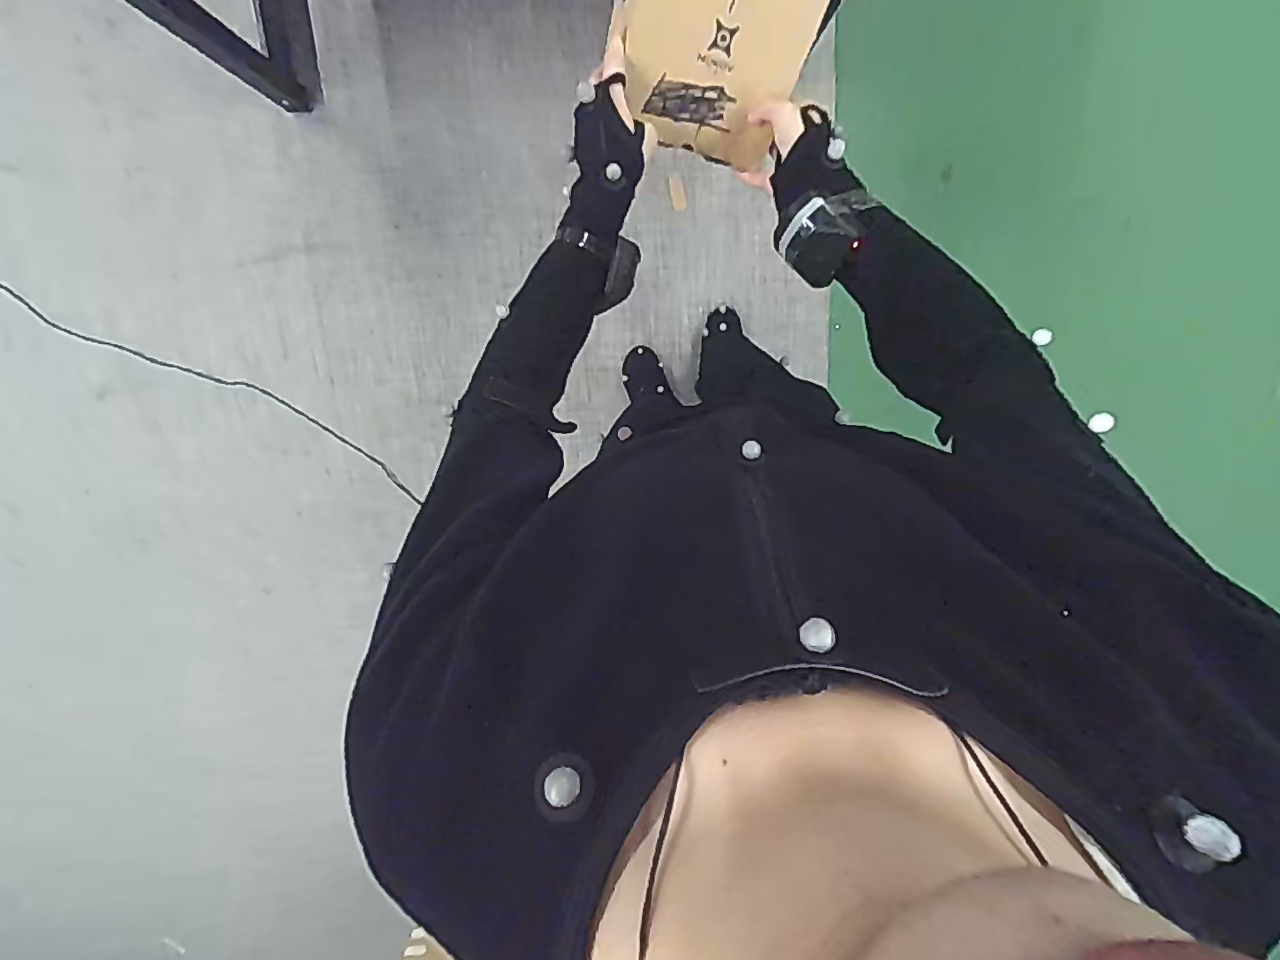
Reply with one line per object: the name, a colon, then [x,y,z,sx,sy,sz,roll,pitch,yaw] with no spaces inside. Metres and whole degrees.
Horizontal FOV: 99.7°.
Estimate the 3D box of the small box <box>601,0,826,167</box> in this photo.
small box: [0.060,-0.448,0.528,0.168,0.176,0.179,7,137,-16]
